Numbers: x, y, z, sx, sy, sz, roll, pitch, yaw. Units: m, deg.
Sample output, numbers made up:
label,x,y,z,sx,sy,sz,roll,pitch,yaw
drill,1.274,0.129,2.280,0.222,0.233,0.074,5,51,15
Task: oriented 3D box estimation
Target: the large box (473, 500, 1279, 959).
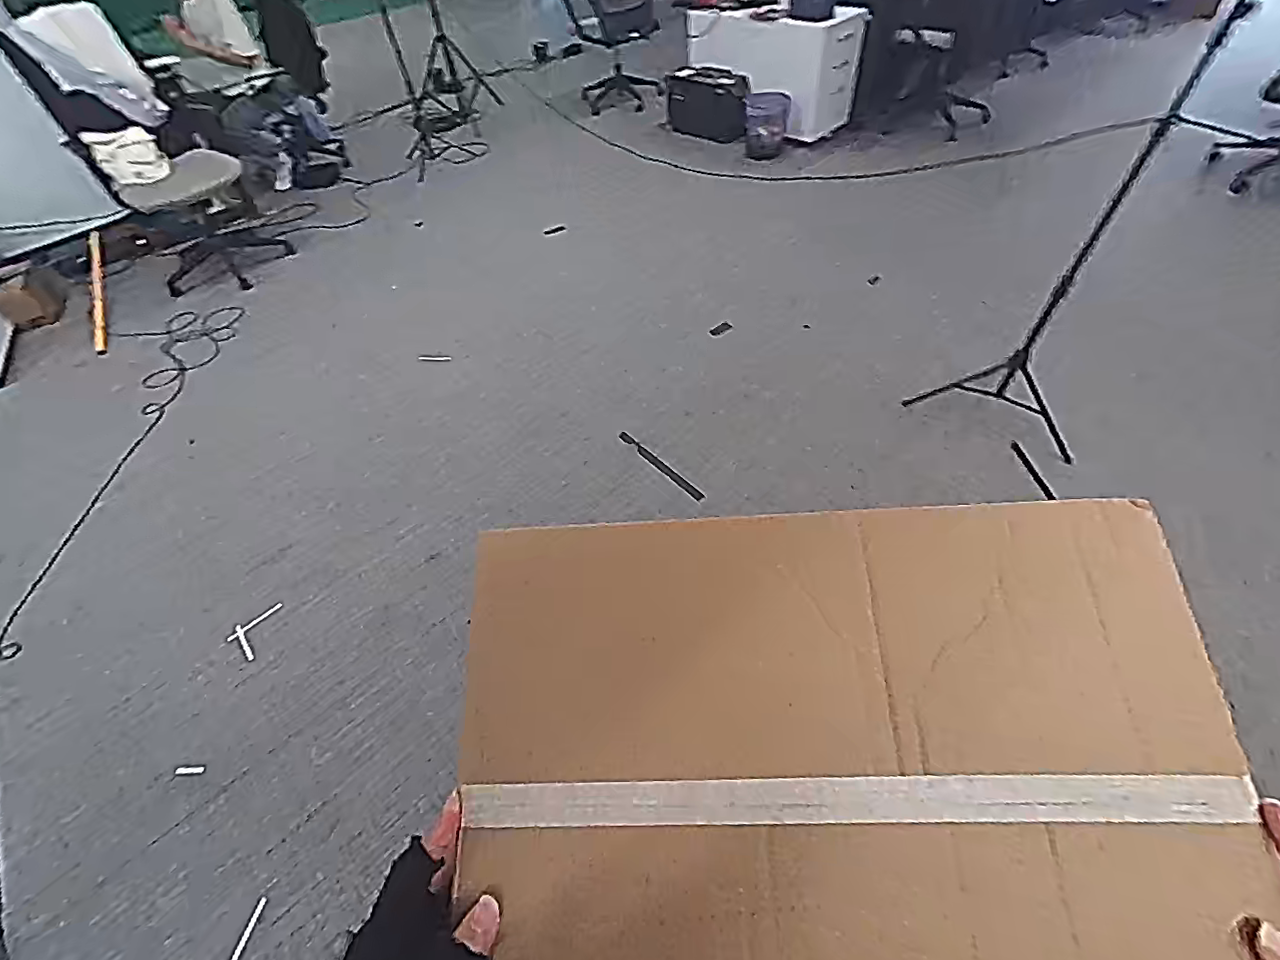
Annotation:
label,x,y,z,sx,sy,sz,roll,pitch,yaw
large box,0.119,0.220,0.434,0.408,0.320,0.320,-4,71,5
